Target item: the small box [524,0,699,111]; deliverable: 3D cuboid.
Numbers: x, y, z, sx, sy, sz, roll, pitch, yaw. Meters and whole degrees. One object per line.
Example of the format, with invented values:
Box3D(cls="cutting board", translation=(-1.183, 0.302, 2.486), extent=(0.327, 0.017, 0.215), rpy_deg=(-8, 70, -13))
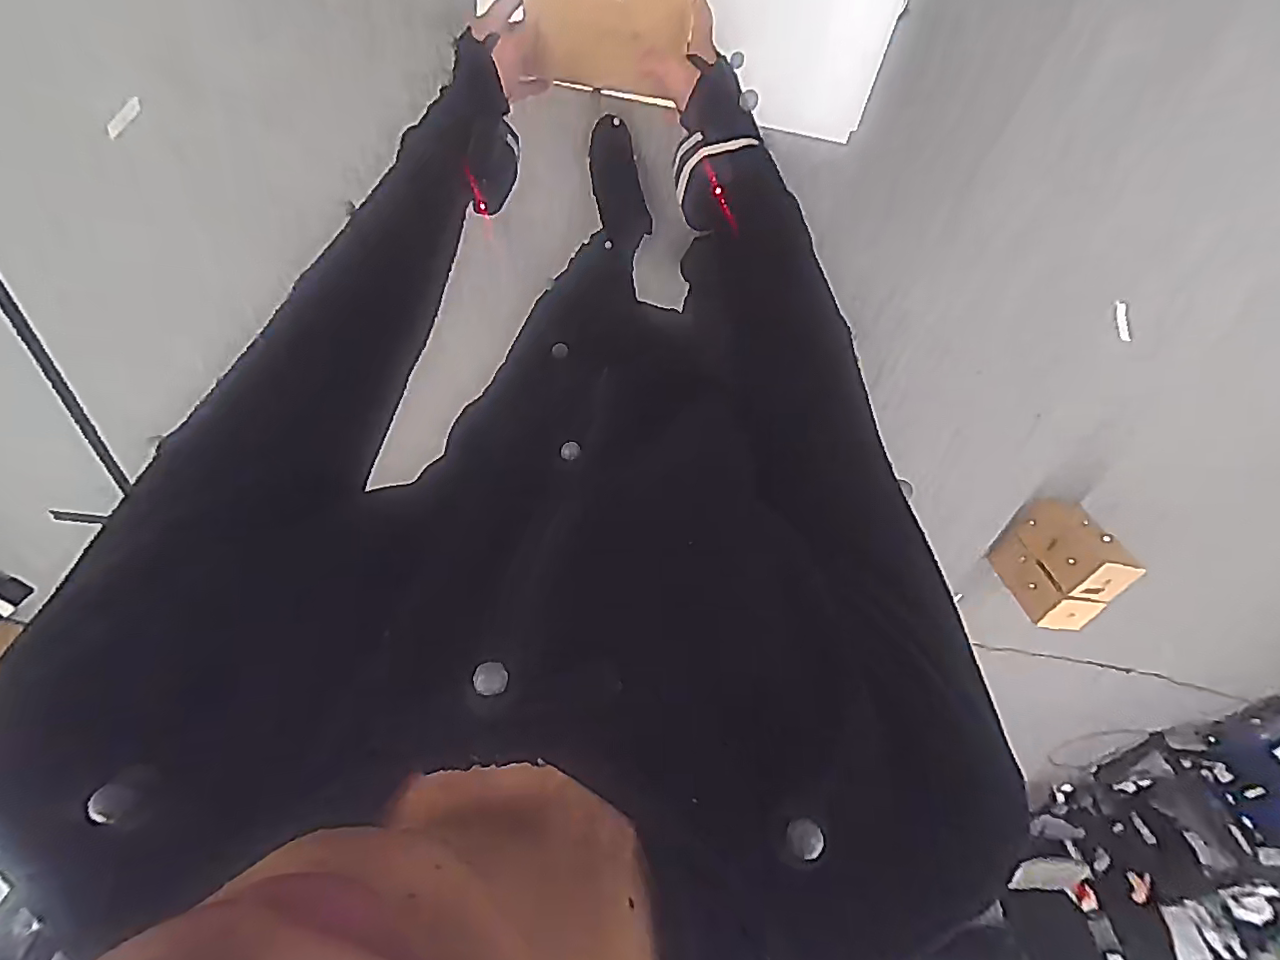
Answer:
Box3D(cls="small box", translation=(-0.024, -0.511, 0.574), extent=(0.168, 0.176, 0.179), rpy_deg=(8, 125, -3))
